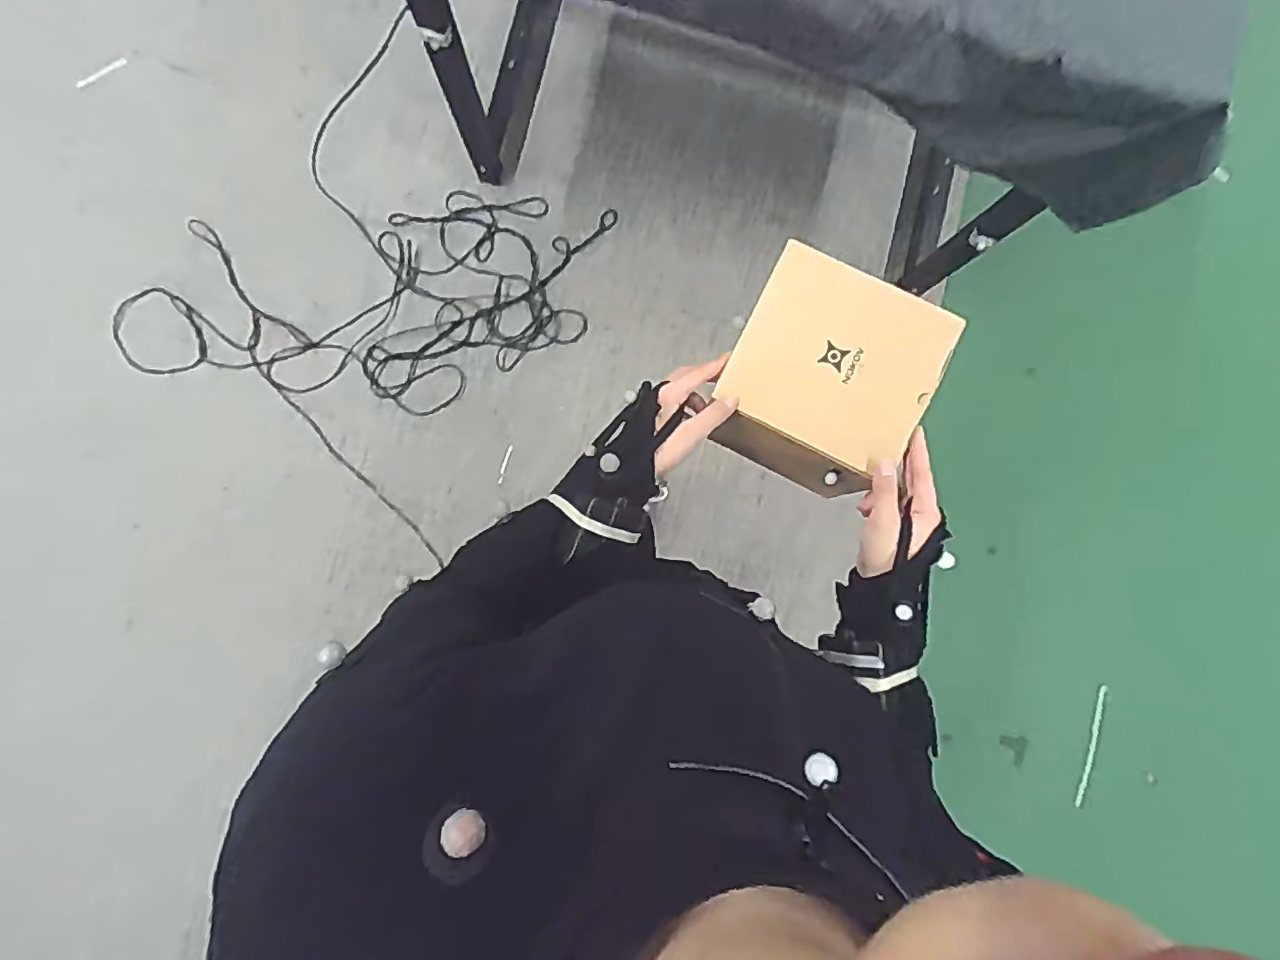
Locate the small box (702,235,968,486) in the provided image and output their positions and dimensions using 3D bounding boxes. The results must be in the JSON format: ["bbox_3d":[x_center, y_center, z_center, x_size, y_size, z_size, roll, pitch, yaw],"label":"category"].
[{"bbox_3d":[0.176,-0.103,0.551,0.179,0.176,0.168,27,85,3],"label":"small box"}]
